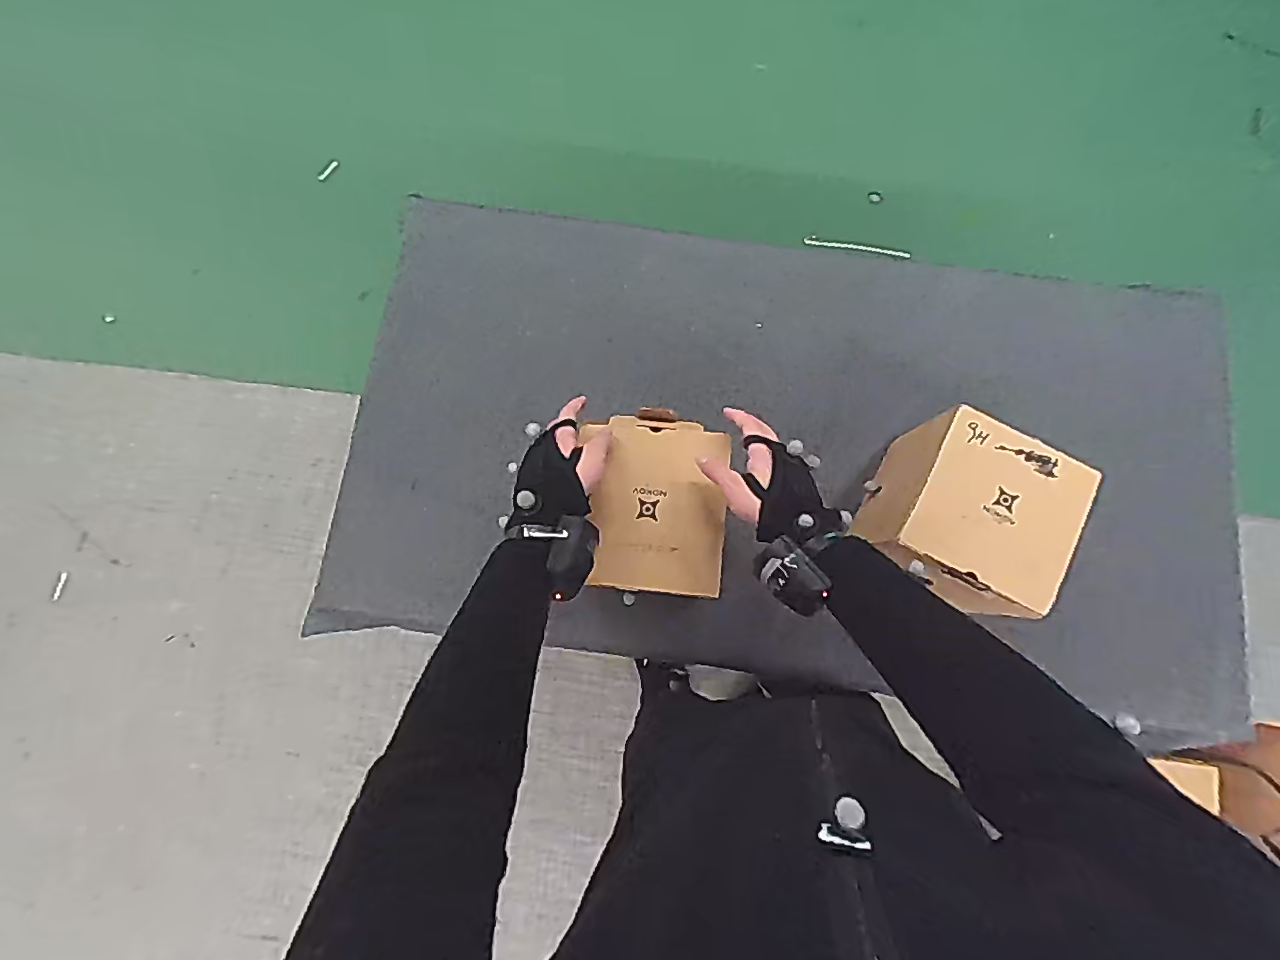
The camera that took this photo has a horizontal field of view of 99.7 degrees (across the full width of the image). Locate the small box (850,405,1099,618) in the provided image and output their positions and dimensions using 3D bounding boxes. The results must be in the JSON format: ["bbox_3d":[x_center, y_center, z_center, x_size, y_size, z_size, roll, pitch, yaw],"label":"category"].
[{"bbox_3d":[0.379,0.044,0.651,0.168,0.176,0.179,30,82,6],"label":"small box"}]

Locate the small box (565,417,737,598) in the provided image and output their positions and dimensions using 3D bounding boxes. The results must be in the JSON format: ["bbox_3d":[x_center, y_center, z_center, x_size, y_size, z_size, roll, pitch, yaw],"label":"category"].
[{"bbox_3d":[0.013,0.041,0.634,0.168,0.176,0.179,6,79,1],"label":"small box"}]
